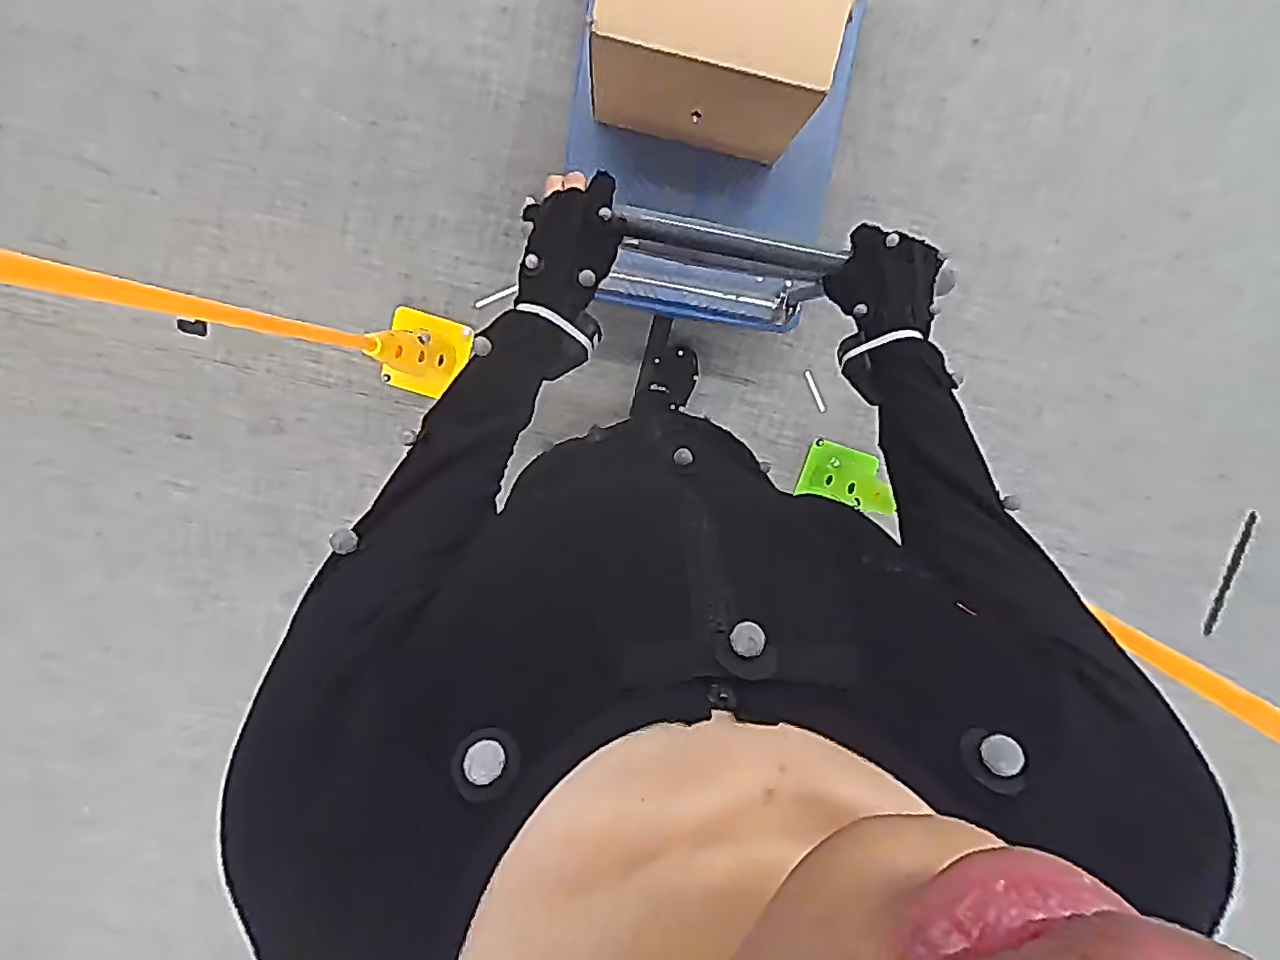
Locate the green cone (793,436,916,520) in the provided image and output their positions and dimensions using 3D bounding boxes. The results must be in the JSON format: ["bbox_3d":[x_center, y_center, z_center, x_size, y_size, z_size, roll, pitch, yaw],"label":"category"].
[{"bbox_3d":[0.552,0.024,1.329,0.202,0.368,0.200,17,98,-7],"label":"green cone"}]

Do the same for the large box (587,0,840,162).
[{"bbox_3d":[0.130,-0.849,1.014,0.408,0.320,0.320,10,99,-4],"label":"large box"}]
